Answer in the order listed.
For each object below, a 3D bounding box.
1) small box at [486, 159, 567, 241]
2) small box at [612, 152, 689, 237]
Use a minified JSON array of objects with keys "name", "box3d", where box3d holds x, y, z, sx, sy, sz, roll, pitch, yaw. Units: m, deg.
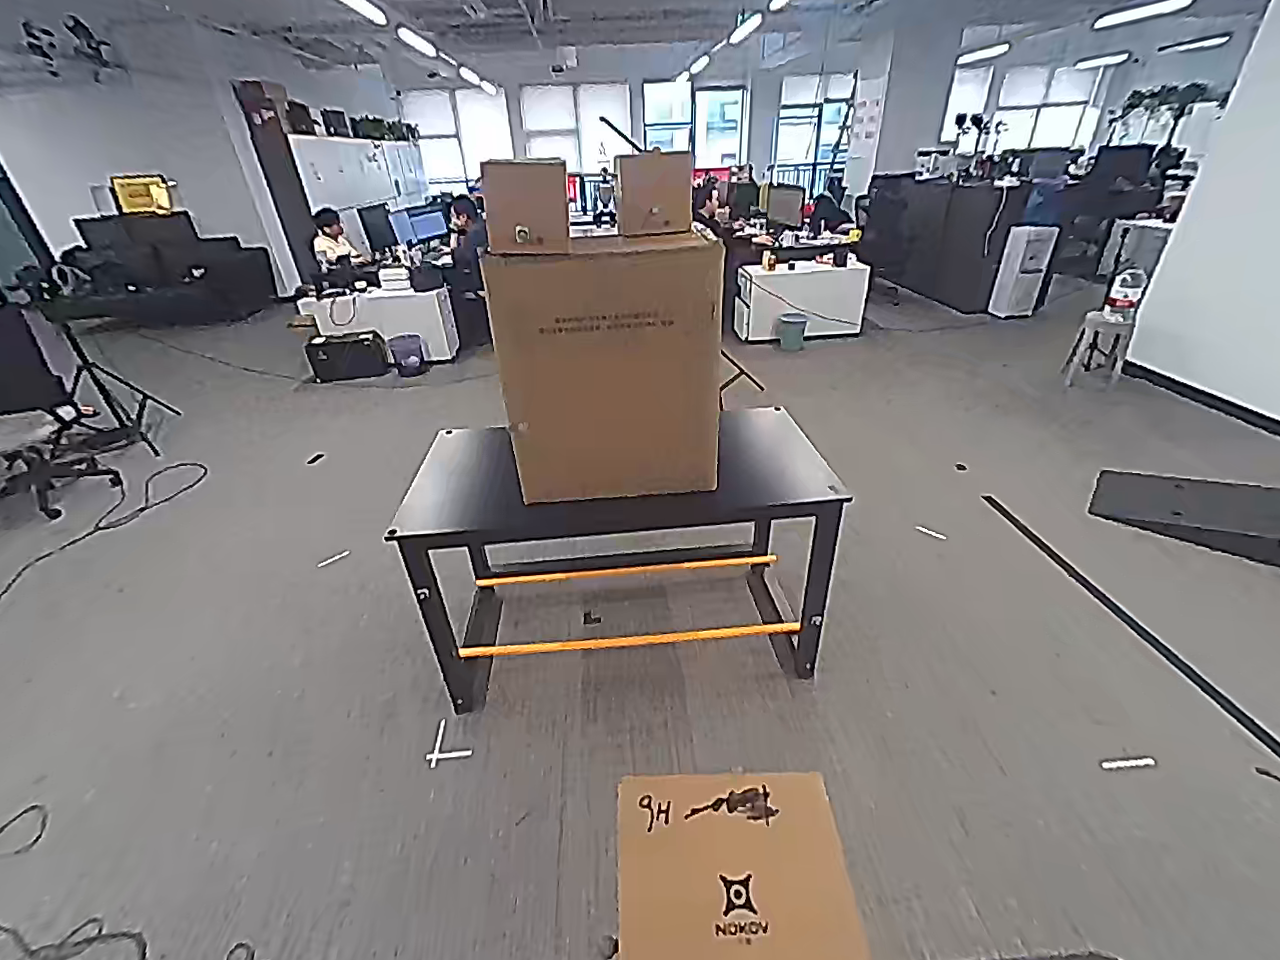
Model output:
[{"name":"small box","box3d":[-0.271,-0.683,1.322,0.168,0.176,0.179,-5,29,-5]},{"name":"small box","box3d":[0.023,-0.690,1.309,0.168,0.176,0.179,-7,30,-4]}]
